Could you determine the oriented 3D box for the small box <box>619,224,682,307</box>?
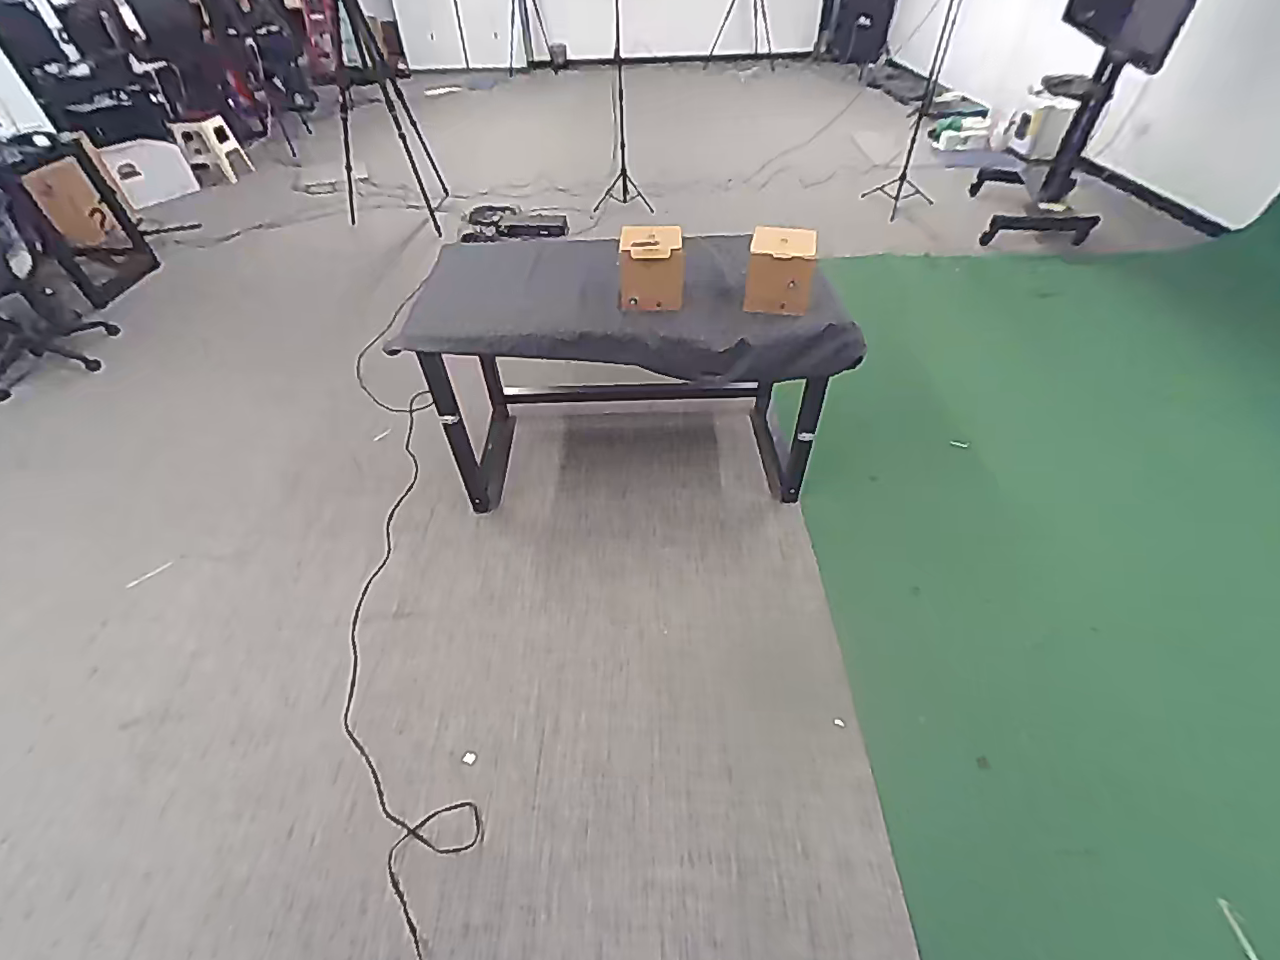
[{"bbox_3d":[0.032,-0.594,1.505,0.168,0.176,0.179,0,45,2],"label":"small box"}]

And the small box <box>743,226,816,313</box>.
[{"bbox_3d":[0.378,-0.574,1.474,0.168,0.176,0.179,9,45,10],"label":"small box"}]
